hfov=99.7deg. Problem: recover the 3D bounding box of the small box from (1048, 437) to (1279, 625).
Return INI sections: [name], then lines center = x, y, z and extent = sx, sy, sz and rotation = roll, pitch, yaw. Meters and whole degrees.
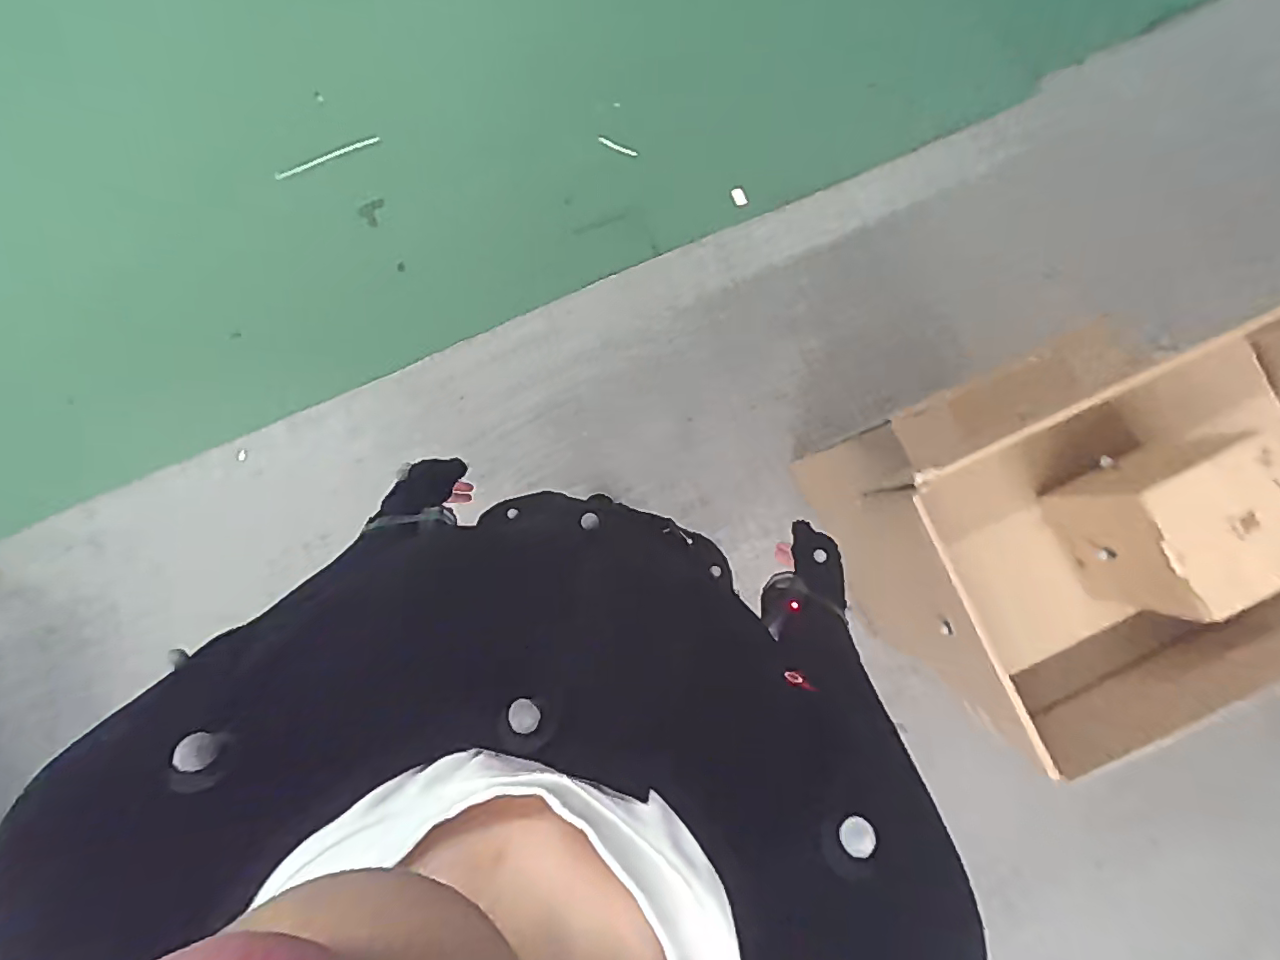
[small box]
center = 0.678, 0.063, 0.697
extent = 0.179, 0.176, 0.168
rotation = -25, 87, -1
